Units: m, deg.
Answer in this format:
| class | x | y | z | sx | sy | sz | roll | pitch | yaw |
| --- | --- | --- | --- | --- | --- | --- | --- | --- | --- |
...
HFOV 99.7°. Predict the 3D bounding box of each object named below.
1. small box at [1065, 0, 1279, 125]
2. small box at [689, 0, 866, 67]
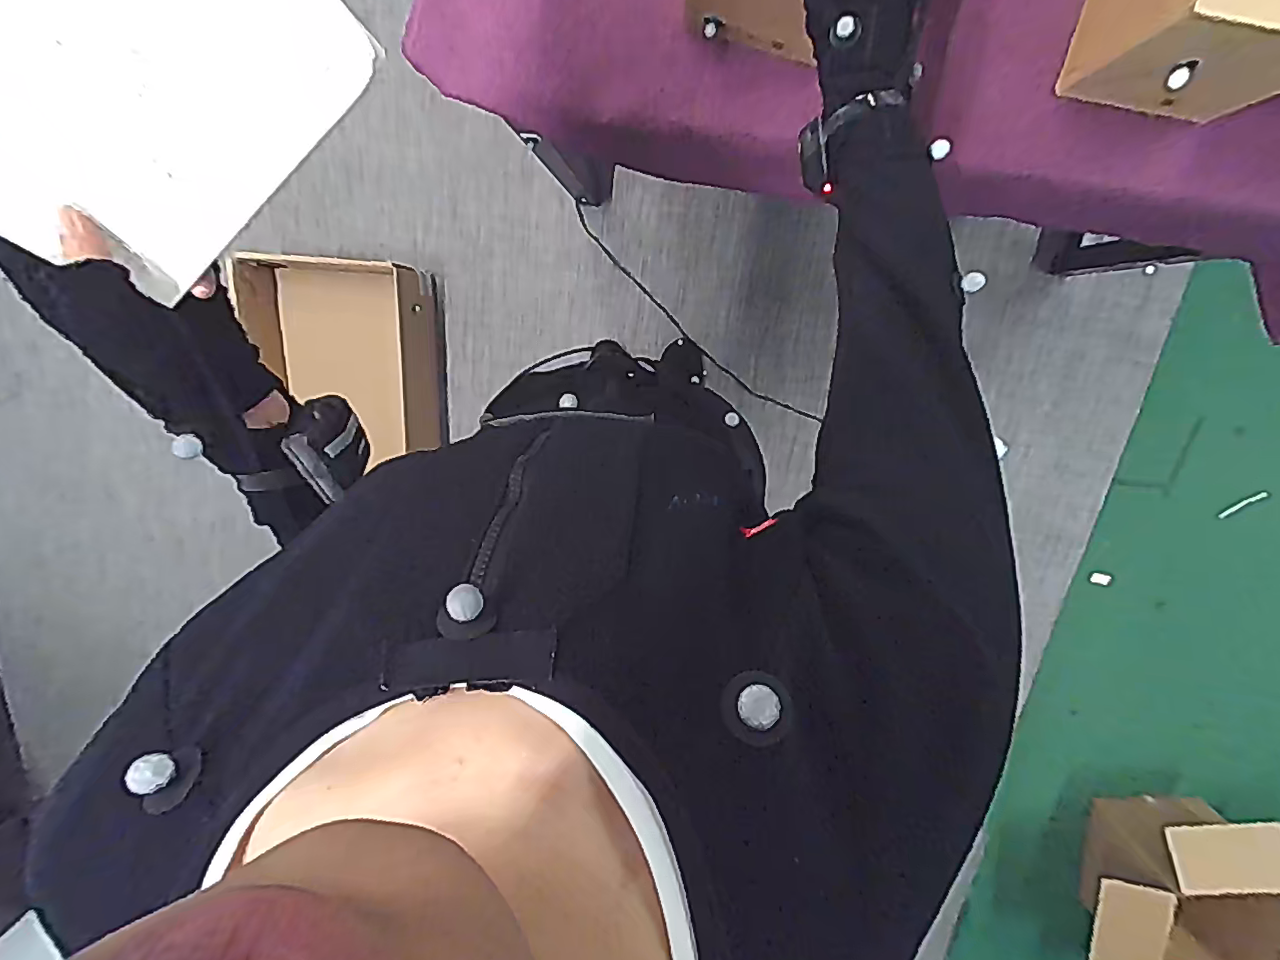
| class | x | y | z | sx | sy | sz | roll | pitch | yaw |
| --- | --- | --- | --- | --- | --- | --- | --- | --- | --- |
| small box | 0.535 | -0.449 | 0.481 | 0.168 | 0.176 | 0.179 | 12 | 108 | 0 |
| small box | 0.144 | -0.519 | 0.484 | 0.168 | 0.176 | 0.179 | 16 | 106 | -2 |
